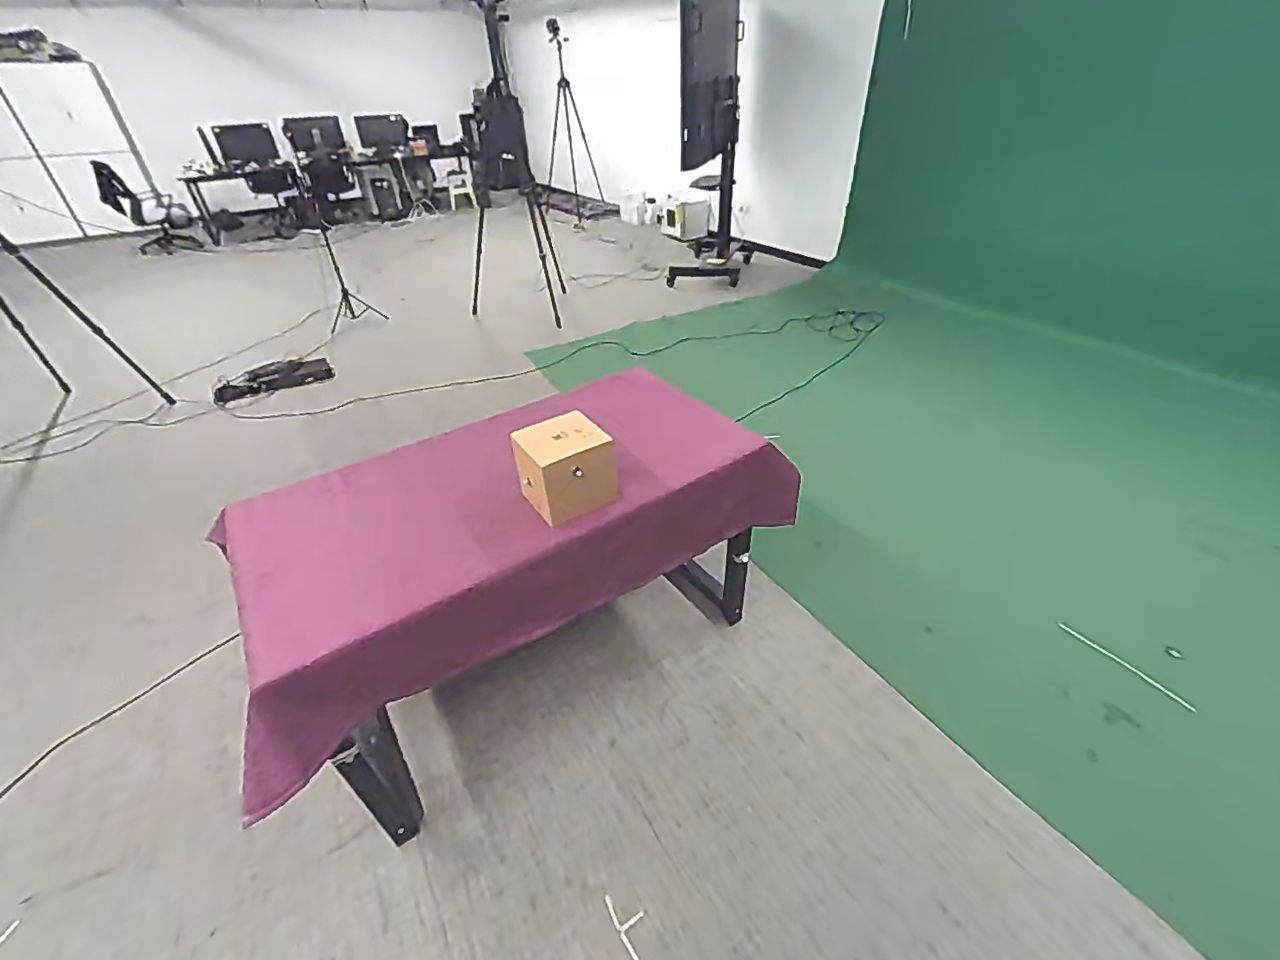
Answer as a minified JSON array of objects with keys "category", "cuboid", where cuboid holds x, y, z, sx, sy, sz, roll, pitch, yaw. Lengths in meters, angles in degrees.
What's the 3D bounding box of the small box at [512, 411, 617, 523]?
[{"category":"small box","cuboid":[-0.166,-0.029,1.222,0.179,0.176,0.168,-23,42,-25]}]
